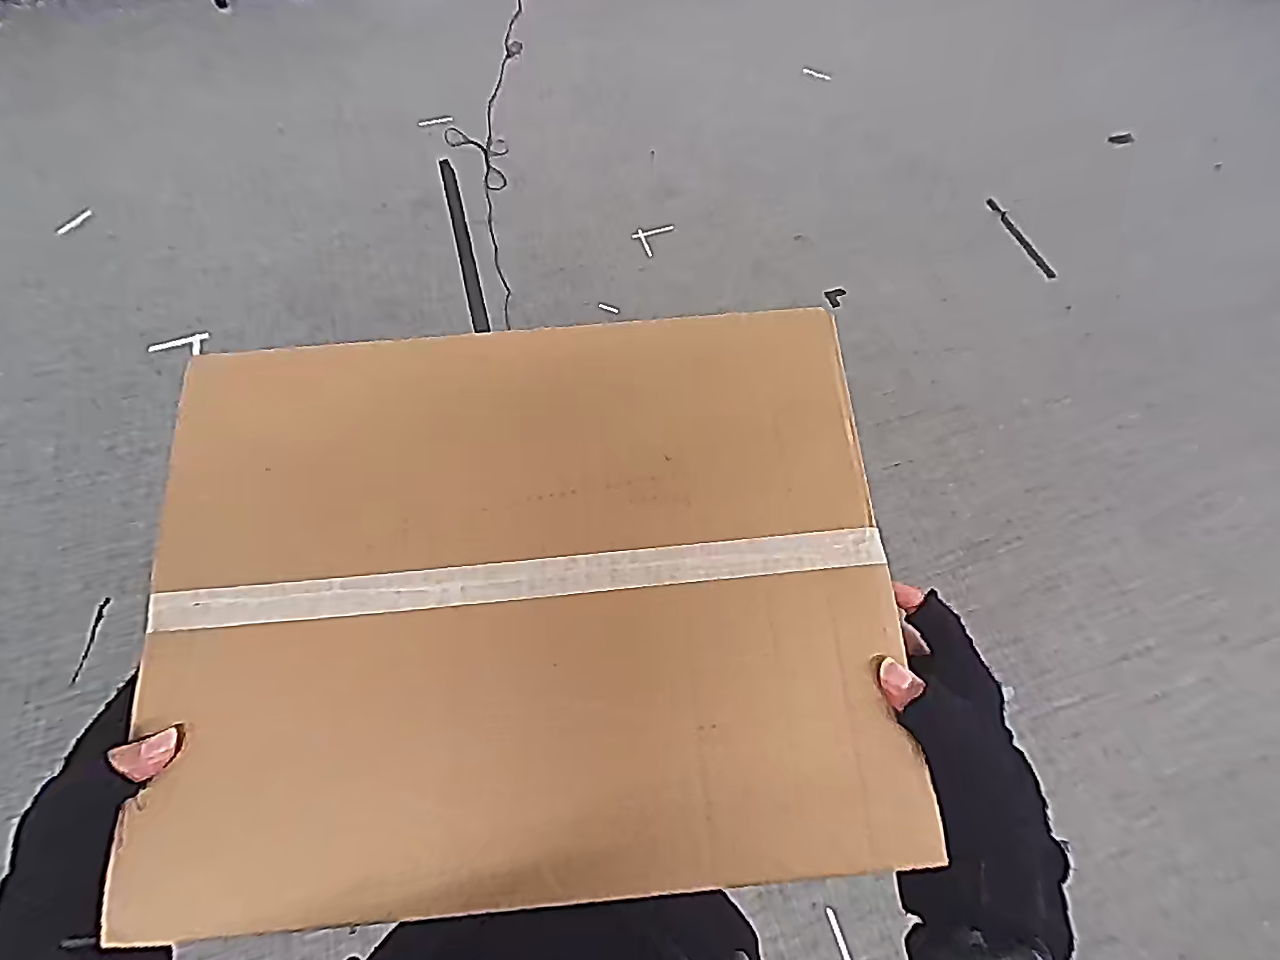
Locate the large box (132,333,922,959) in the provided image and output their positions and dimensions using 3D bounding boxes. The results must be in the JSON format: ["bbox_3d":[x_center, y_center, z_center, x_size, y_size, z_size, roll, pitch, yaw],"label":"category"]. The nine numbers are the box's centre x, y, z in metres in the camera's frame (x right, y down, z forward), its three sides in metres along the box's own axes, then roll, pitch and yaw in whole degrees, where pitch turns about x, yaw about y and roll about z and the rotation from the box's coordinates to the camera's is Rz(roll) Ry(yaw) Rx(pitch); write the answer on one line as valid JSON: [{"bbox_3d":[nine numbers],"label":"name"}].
[{"bbox_3d":[-0.065,0.108,0.451,0.408,0.320,0.320,-5,73,-1],"label":"large box"}]
